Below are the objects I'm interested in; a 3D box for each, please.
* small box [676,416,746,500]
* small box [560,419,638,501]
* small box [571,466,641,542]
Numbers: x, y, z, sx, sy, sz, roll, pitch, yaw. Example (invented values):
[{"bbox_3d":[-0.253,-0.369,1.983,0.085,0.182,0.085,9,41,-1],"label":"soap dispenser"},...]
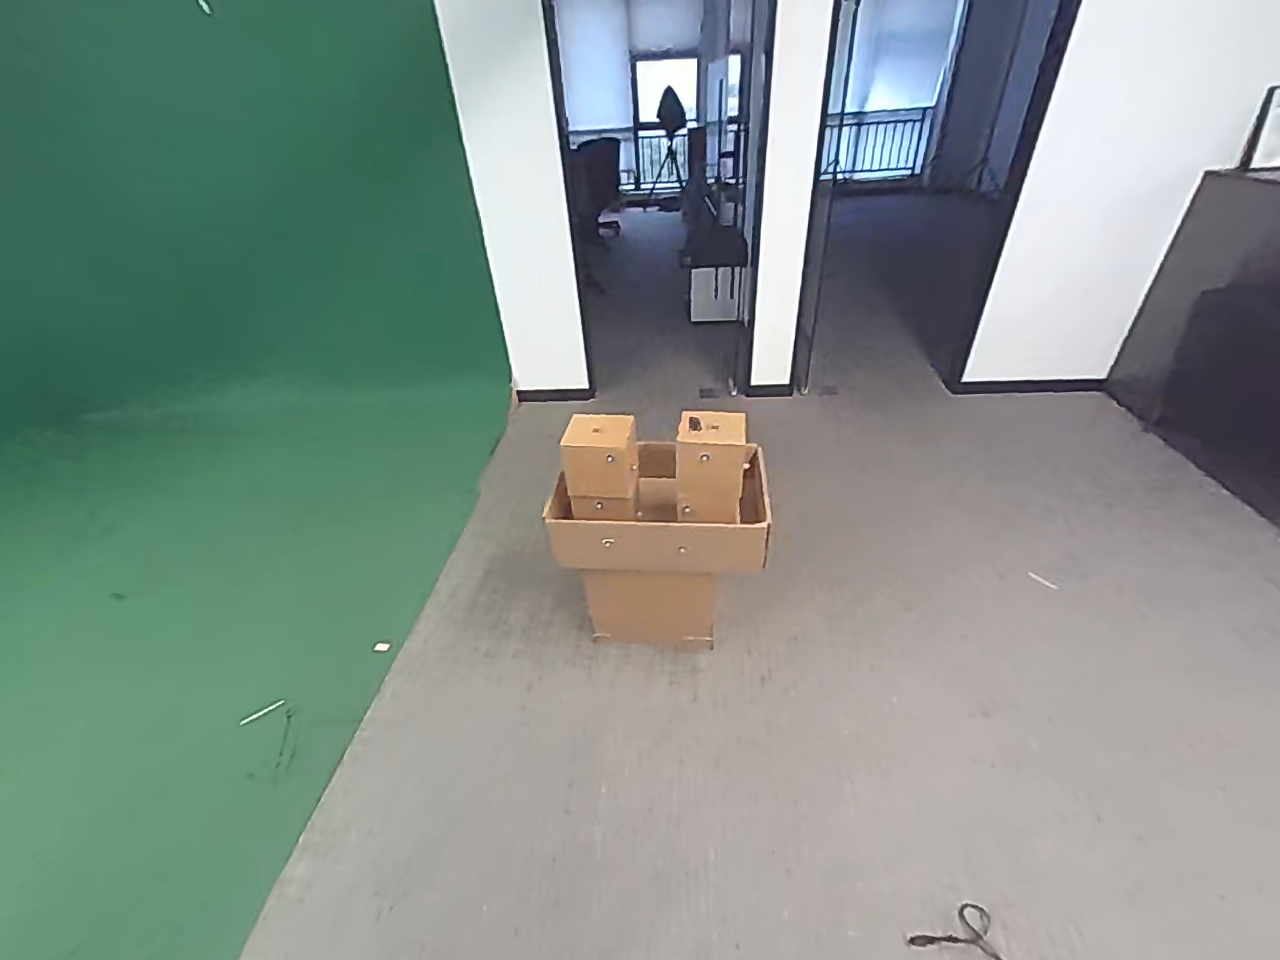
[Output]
[{"bbox_3d":[0.194,-0.060,1.471,0.179,0.176,0.168,4,36,9],"label":"small box"},{"bbox_3d":[-0.107,-0.055,1.499,0.179,0.176,0.168,3,37,8],"label":"small box"},{"bbox_3d":[-0.095,0.068,1.606,0.179,0.176,0.168,3,37,7],"label":"small box"}]
